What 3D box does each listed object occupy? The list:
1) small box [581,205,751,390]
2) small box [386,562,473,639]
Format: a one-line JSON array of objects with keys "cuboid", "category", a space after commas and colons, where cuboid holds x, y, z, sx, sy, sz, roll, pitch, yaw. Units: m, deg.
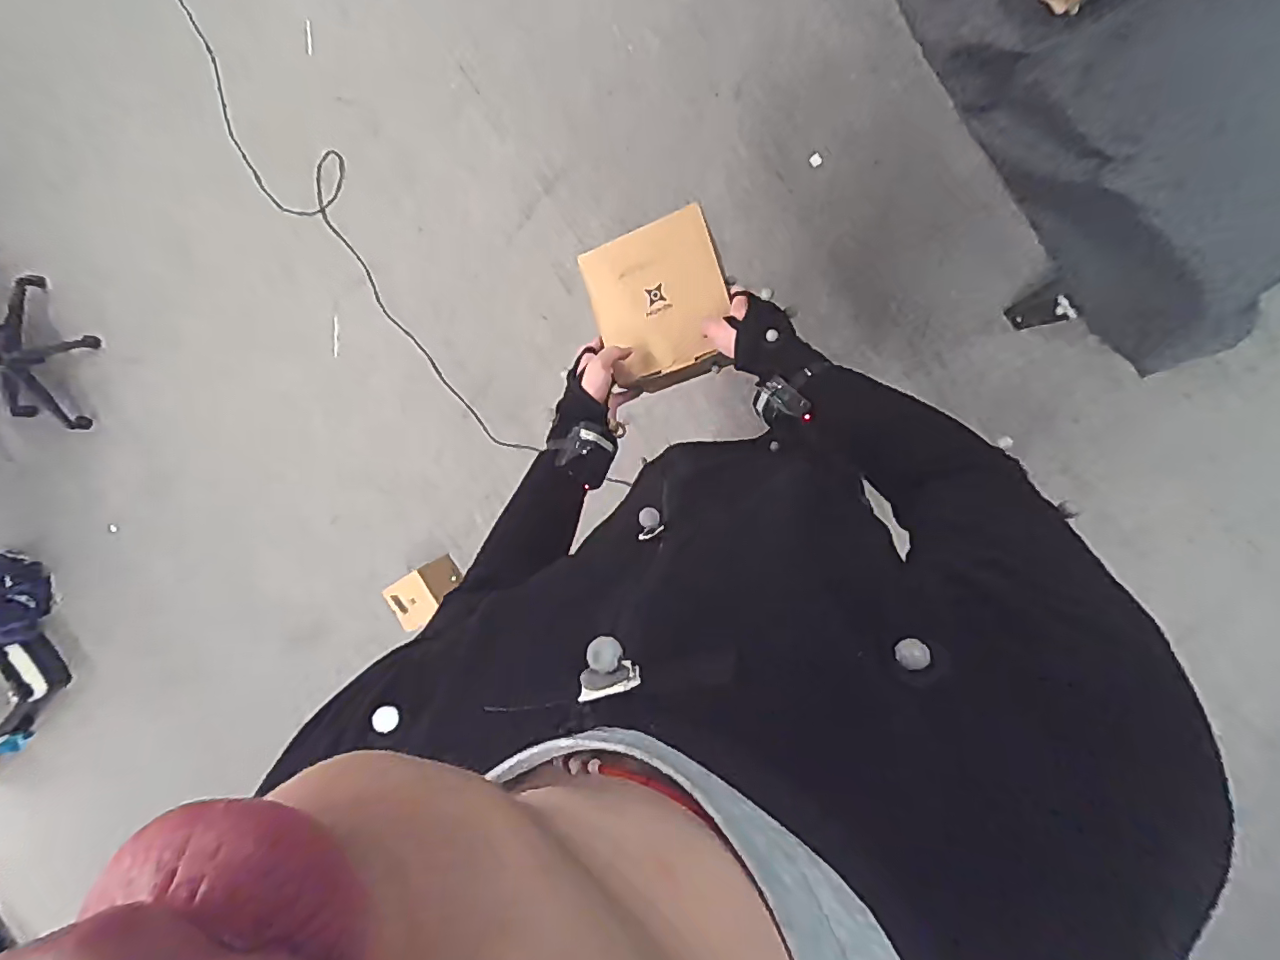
[{"cuboid": [0.047, -0.231, 0.741, 0.168, 0.176, 0.179, -19, 89, 16], "category": "small box"}, {"cuboid": [-0.704, 0.402, 1.826, 0.179, 0.176, 0.168, -32, 91, 19], "category": "small box"}]
